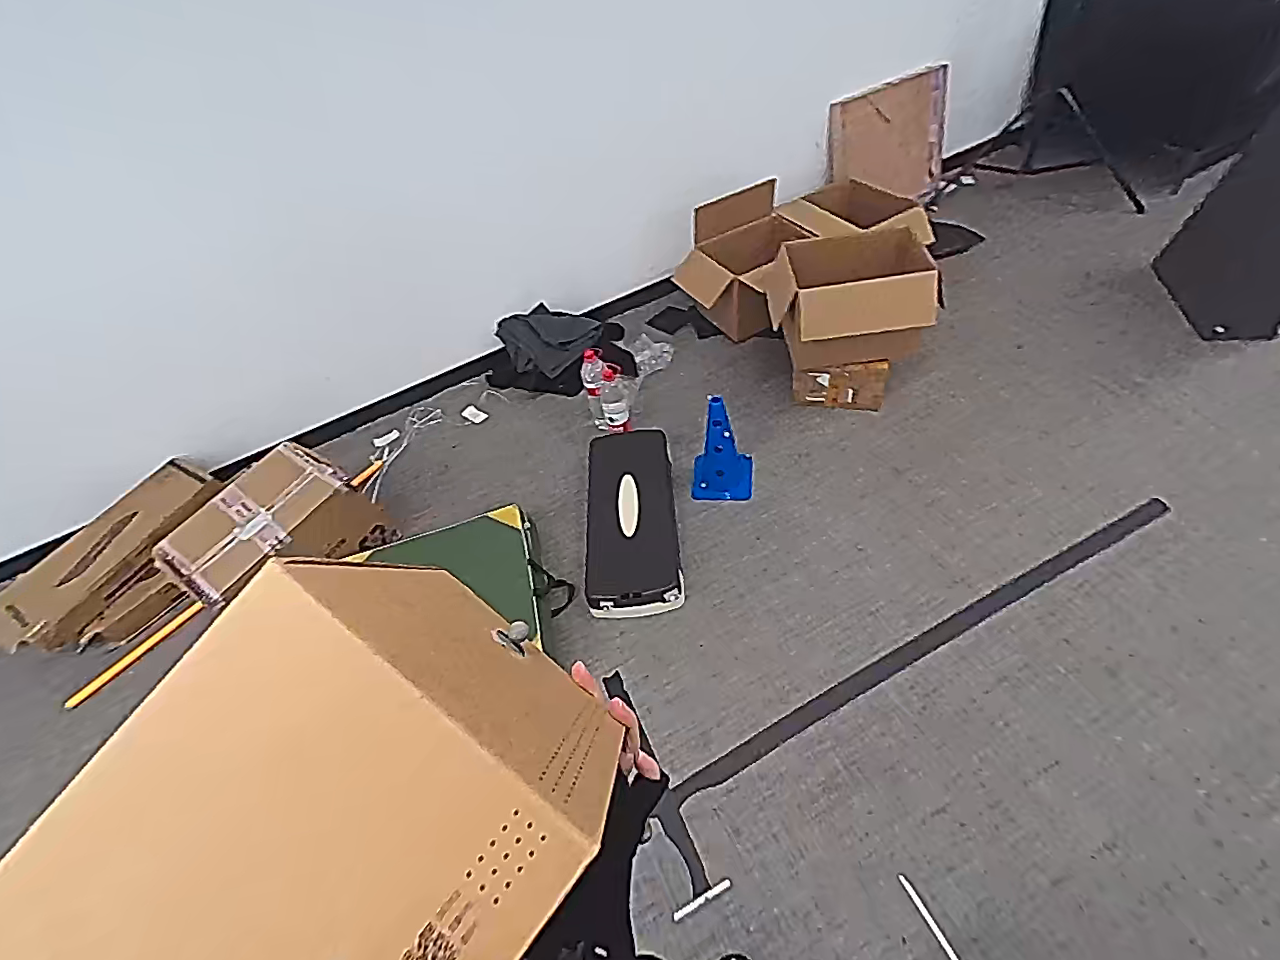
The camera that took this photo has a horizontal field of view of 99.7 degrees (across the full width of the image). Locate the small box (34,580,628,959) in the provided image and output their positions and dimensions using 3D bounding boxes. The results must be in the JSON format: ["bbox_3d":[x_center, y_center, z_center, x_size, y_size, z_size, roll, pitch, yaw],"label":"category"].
[{"bbox_3d":[-0.121,0.171,0.290,0.176,0.179,0.168,37,83,8],"label":"small box"}]
